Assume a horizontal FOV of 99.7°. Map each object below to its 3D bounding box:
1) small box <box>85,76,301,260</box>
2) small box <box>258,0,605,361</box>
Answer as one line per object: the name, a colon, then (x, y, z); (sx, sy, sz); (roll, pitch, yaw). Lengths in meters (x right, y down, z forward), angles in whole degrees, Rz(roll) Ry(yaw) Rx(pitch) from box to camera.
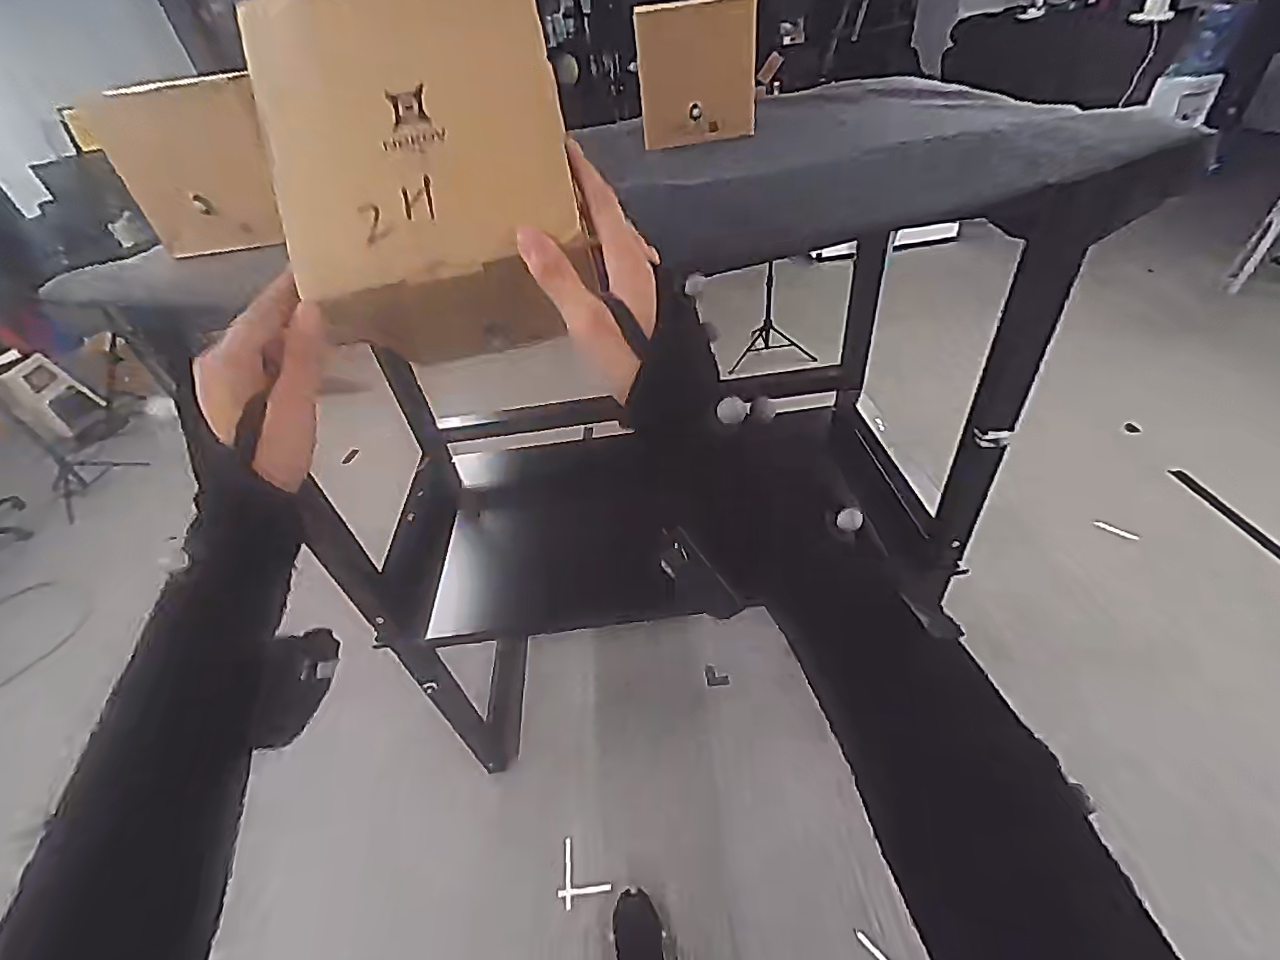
small box: (-0.501, -0.393, 0.679); (0.168, 0.176, 0.179); (-9, 41, -2)
small box: (-0.123, -0.202, 0.389); (0.168, 0.179, 0.176); (-12, 0, 0)
